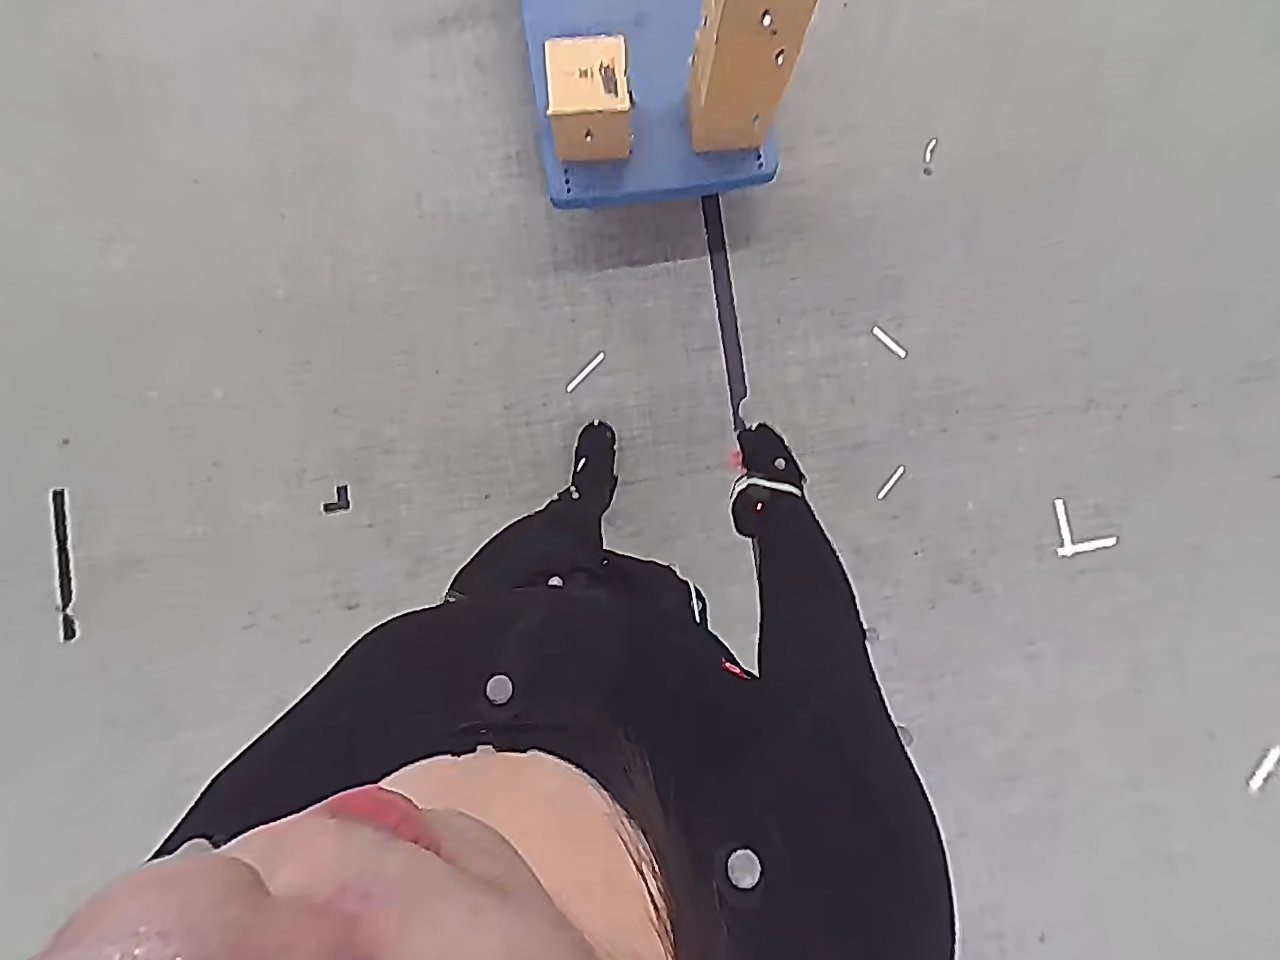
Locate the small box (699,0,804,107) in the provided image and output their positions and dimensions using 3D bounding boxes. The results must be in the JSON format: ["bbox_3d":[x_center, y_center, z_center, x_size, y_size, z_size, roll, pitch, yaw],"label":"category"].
[{"bbox_3d":[0.217,-0.895,1.100,0.179,0.176,0.168,-3,88,-3],"label":"small box"}]

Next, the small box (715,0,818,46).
[{"bbox_3d":[0.223,-0.906,0.936,0.168,0.176,0.179,-2,87,-2],"label":"small box"}]

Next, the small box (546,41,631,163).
[{"bbox_3d":[-0.115,-0.864,1.249,0.179,0.176,0.168,-4,87,-1],"label":"small box"}]
